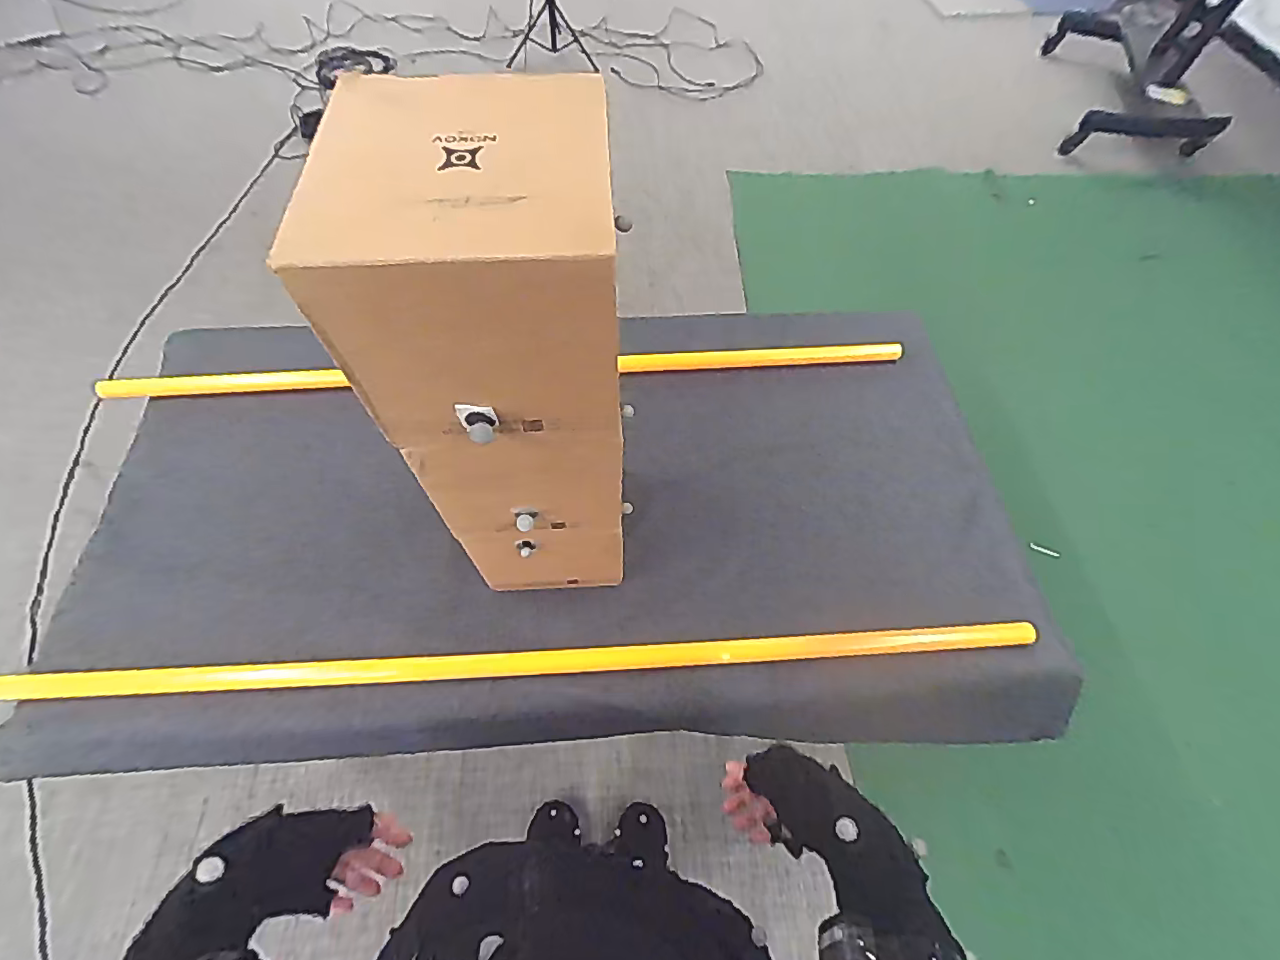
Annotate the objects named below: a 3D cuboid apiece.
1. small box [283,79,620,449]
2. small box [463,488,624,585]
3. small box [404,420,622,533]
[{"bbox_3d":[-0.101,-0.141,0.377,0.168,0.176,0.179,-4,62,-2],"label":"small box"},{"bbox_3d":[-0.106,0.015,0.663,0.168,0.176,0.179,-3,61,-2],"label":"small box"},{"bbox_3d":[-0.104,-0.064,0.519,0.168,0.176,0.179,-3,61,-3],"label":"small box"}]
